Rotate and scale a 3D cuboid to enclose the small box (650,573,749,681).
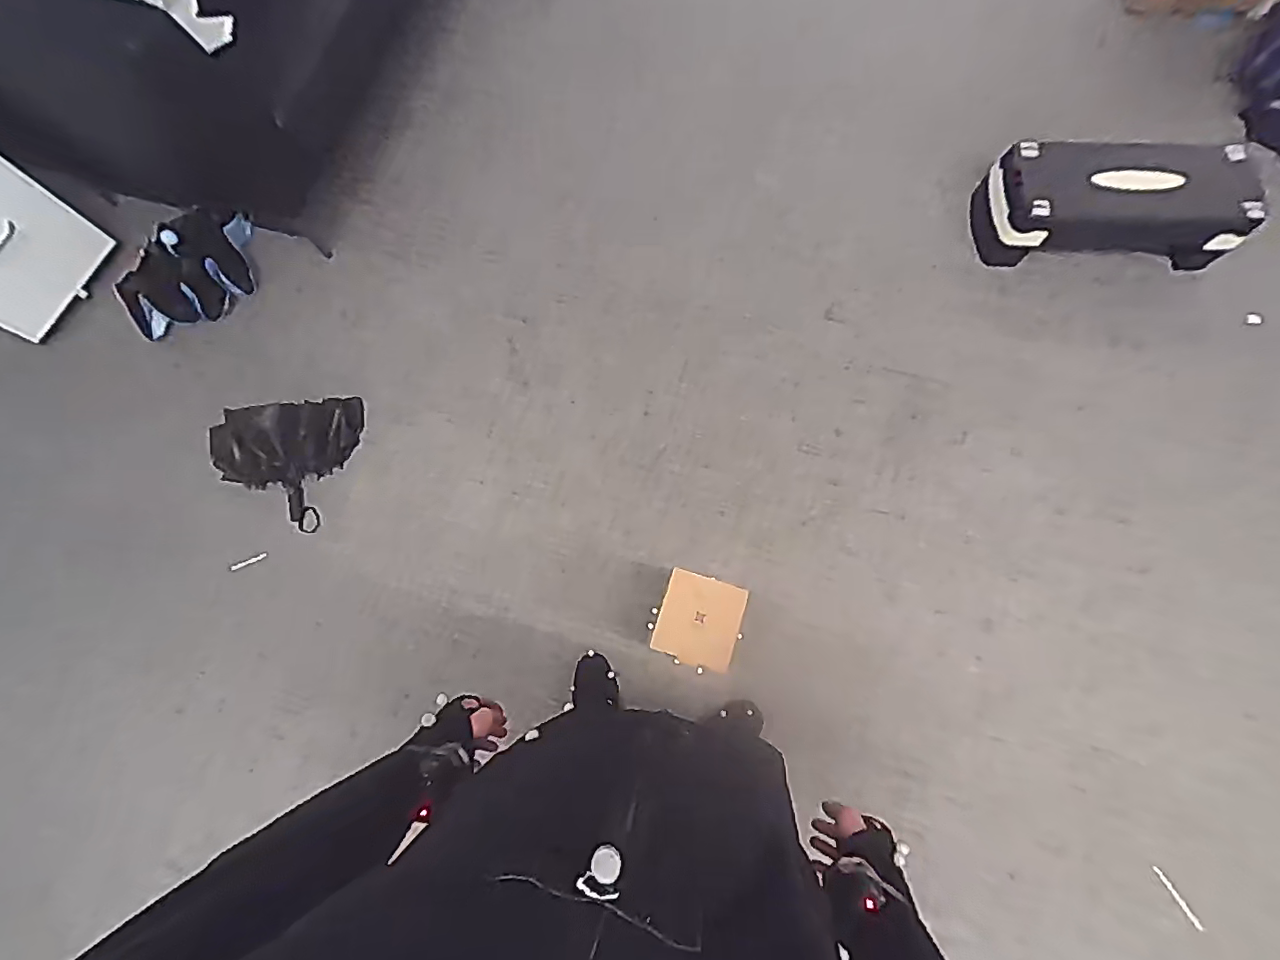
[{"bbox_3d":[0.126,0.322,1.183,0.168,0.176,0.179,17,74,6],"label":"small box"}]
